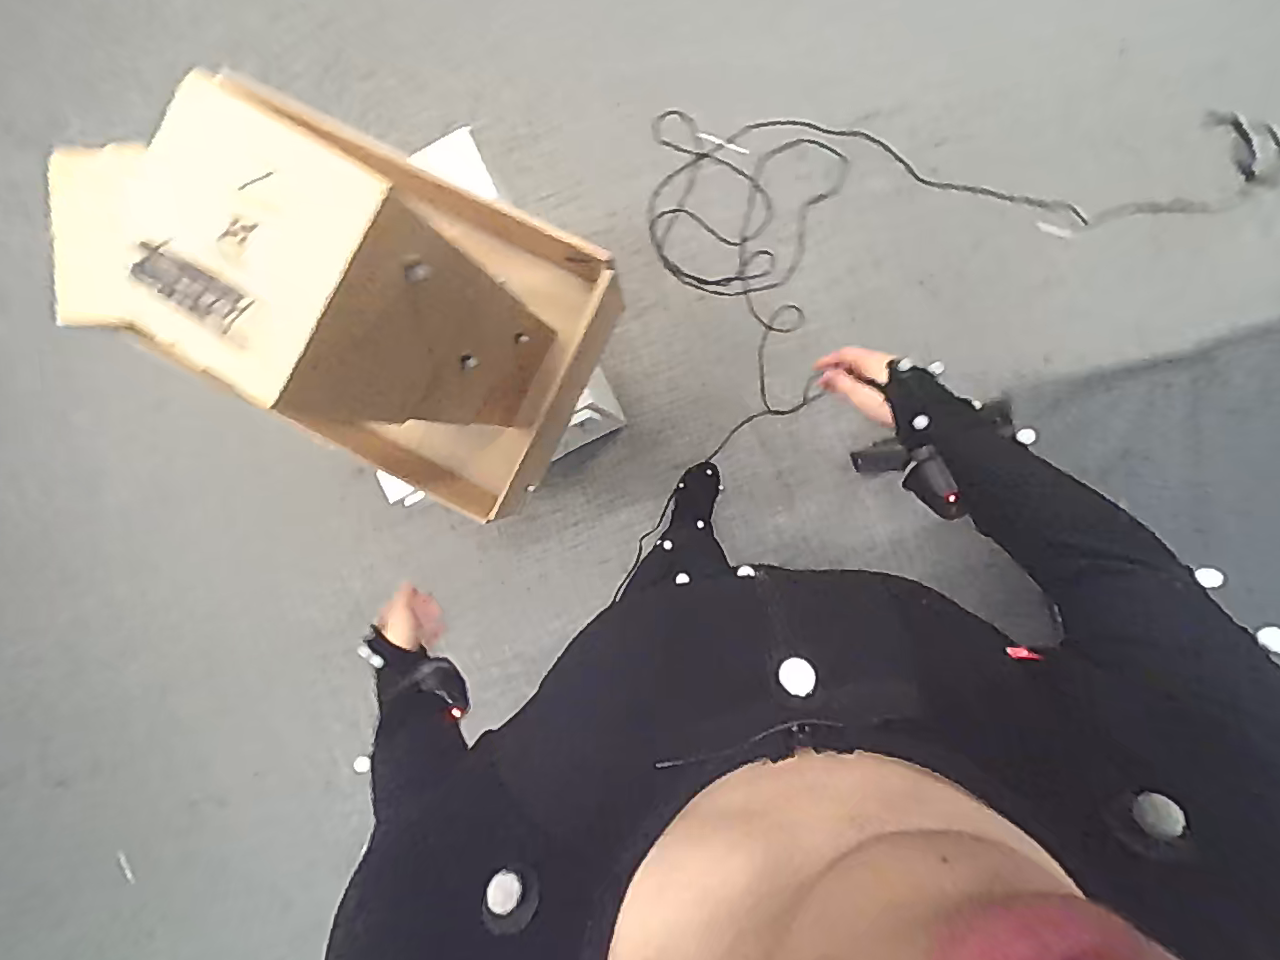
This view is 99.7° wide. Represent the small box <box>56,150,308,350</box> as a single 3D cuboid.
[{"bbox_3d":[-0.521,-0.257,0.642,0.168,0.176,0.179,1,95,6],"label":"small box"}]

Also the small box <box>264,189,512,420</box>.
[{"bbox_3d":[-0.268,-0.183,0.621,0.168,0.176,0.179,28,96,5],"label":"small box"}]
